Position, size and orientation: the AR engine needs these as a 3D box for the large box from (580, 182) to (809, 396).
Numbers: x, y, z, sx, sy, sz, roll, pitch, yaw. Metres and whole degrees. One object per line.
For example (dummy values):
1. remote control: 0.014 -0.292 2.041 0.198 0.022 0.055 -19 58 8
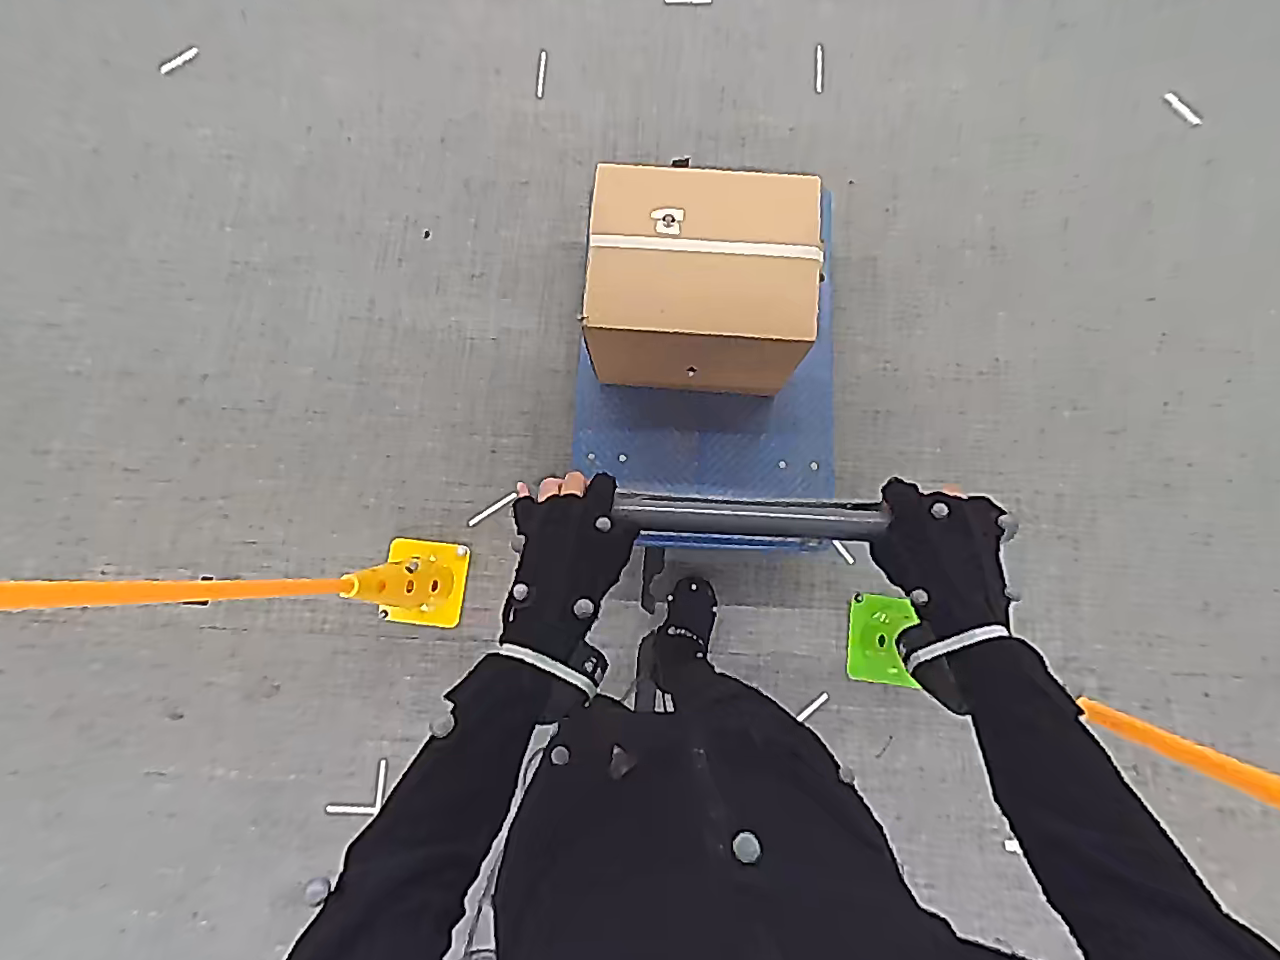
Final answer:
1. large box: 0.107 -0.367 1.110 0.408 0.320 0.320 4 82 3

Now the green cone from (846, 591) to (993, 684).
1. green cone: 0.596 0.348 1.123 0.202 0.368 0.200 7 81 1
